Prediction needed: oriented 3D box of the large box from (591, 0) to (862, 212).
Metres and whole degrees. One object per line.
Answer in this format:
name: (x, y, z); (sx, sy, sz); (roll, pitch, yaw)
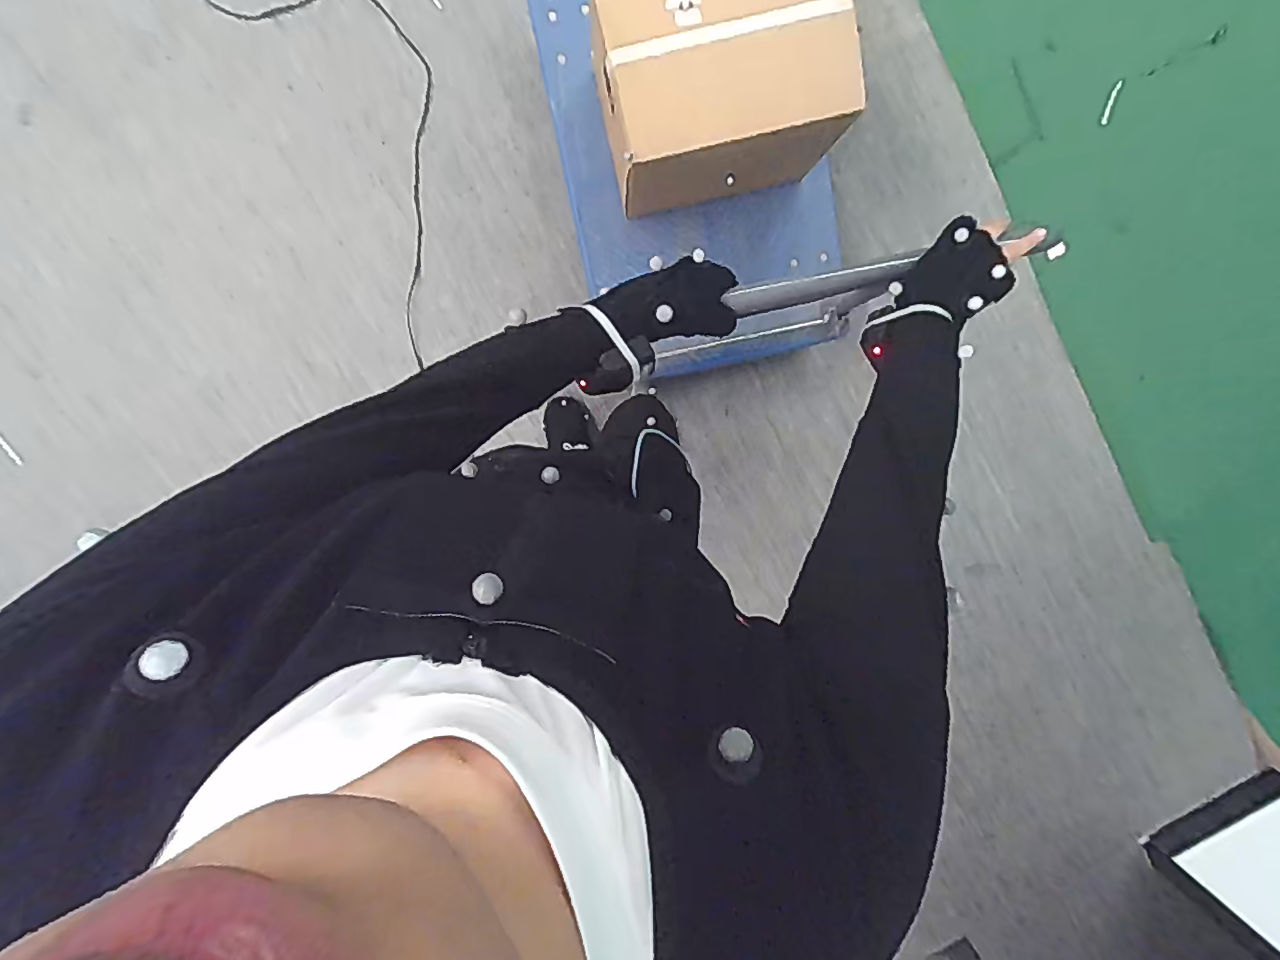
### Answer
large box: (0.142, -0.752, 1.022); (0.408, 0.320, 0.320); (-13, 100, 0)
